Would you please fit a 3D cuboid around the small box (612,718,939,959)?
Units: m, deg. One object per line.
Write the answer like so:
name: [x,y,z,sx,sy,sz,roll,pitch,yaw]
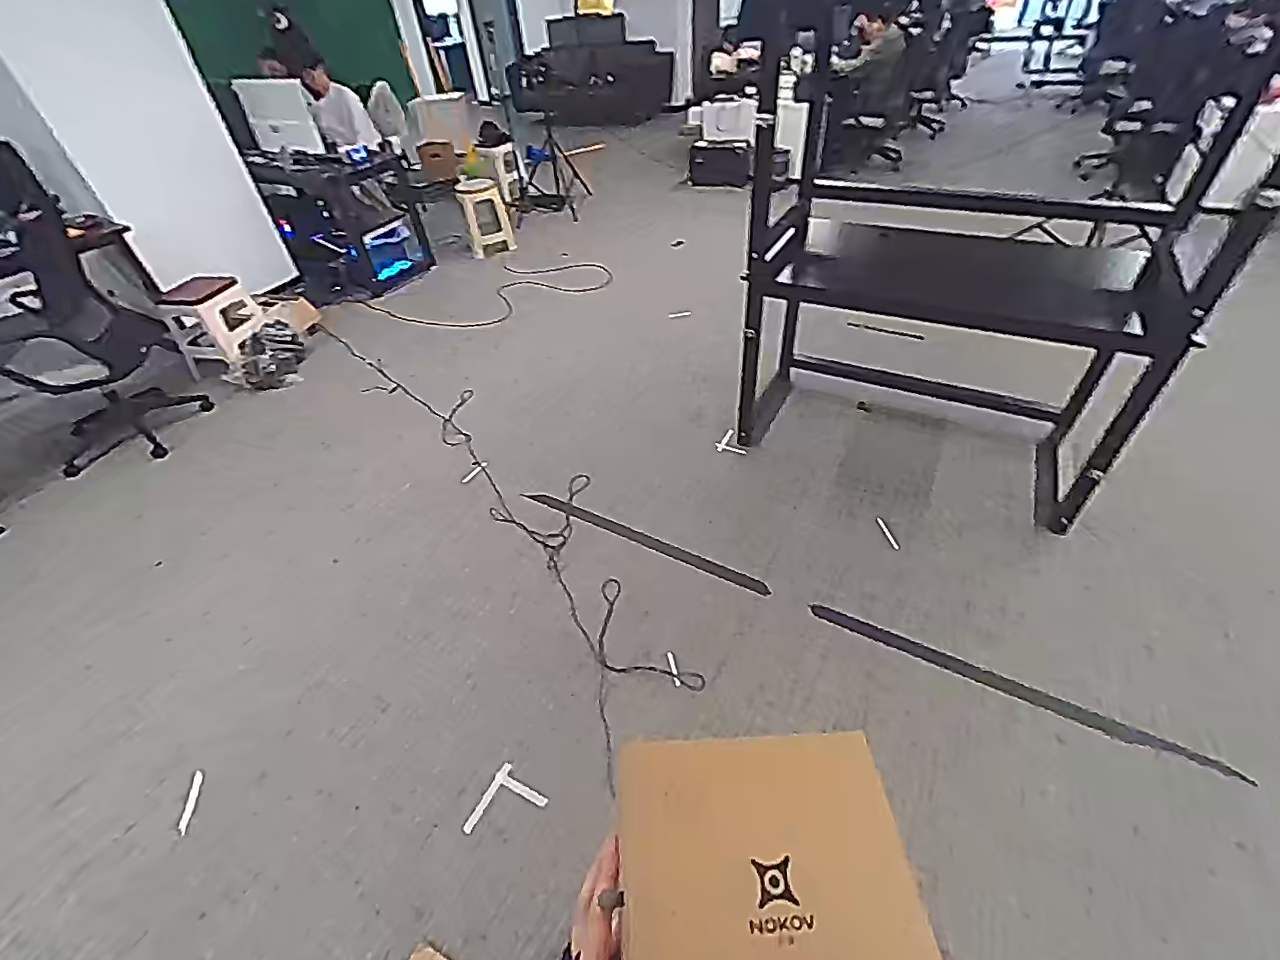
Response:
small box: [0.067,0.280,0.356,0.168,0.176,0.179,-2,46,-5]
